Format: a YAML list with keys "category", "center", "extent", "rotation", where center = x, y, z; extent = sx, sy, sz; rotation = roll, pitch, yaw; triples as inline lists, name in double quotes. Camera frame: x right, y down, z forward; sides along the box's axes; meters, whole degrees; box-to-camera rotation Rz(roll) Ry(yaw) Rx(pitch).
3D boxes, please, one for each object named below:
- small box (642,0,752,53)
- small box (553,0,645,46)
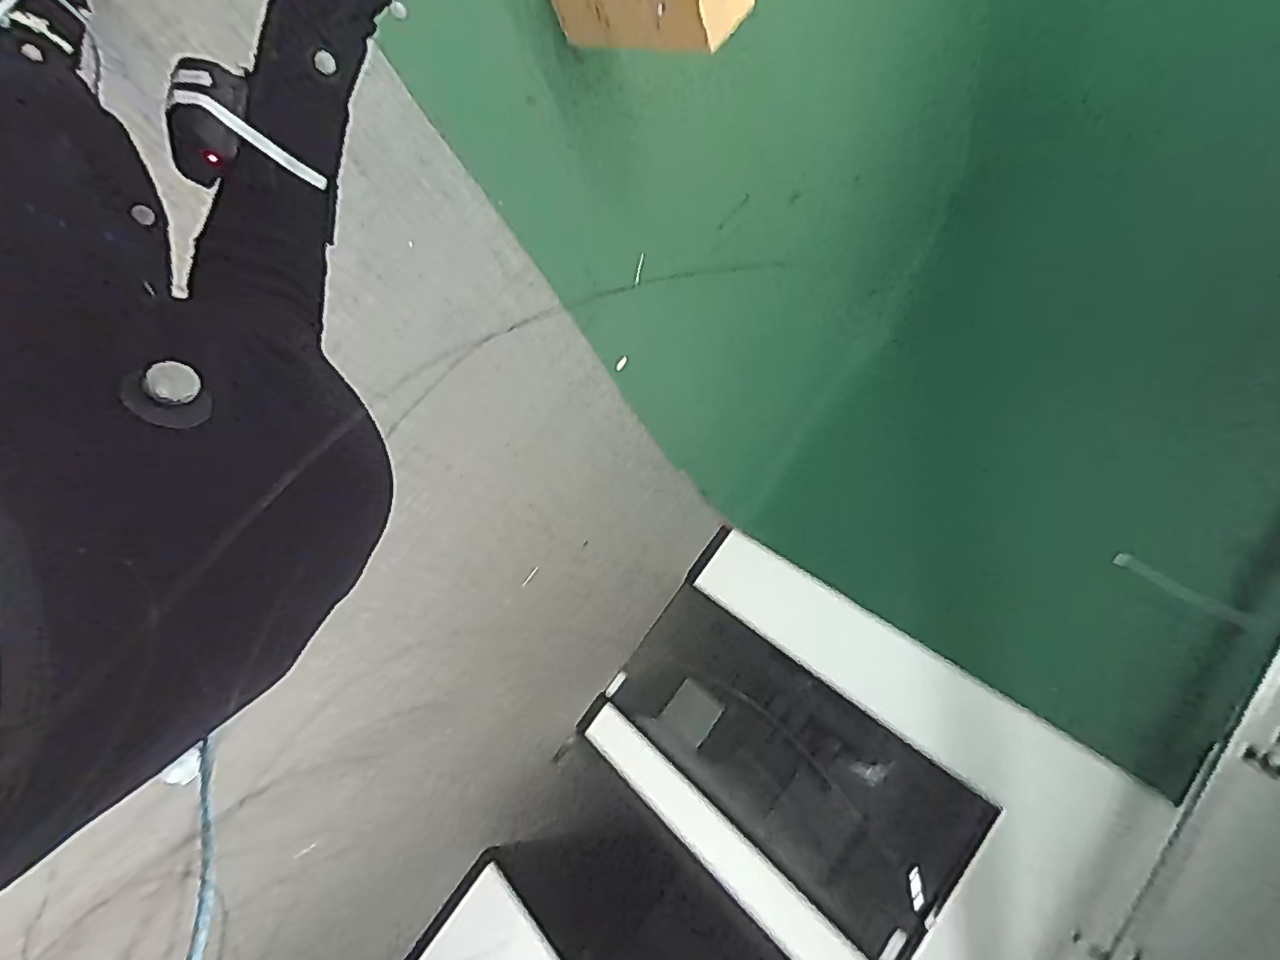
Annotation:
- category: "small box"
  center: [0.122, -1.102, 1.206]
  extent: [0.179, 0.176, 0.168]
  rotation: [-53, 147, -7]
- category: "small box"
  center: [-0.113, -1.251, 1.380]
  extent: [0.179, 0.176, 0.168]
  rotation: [-52, 147, -9]
